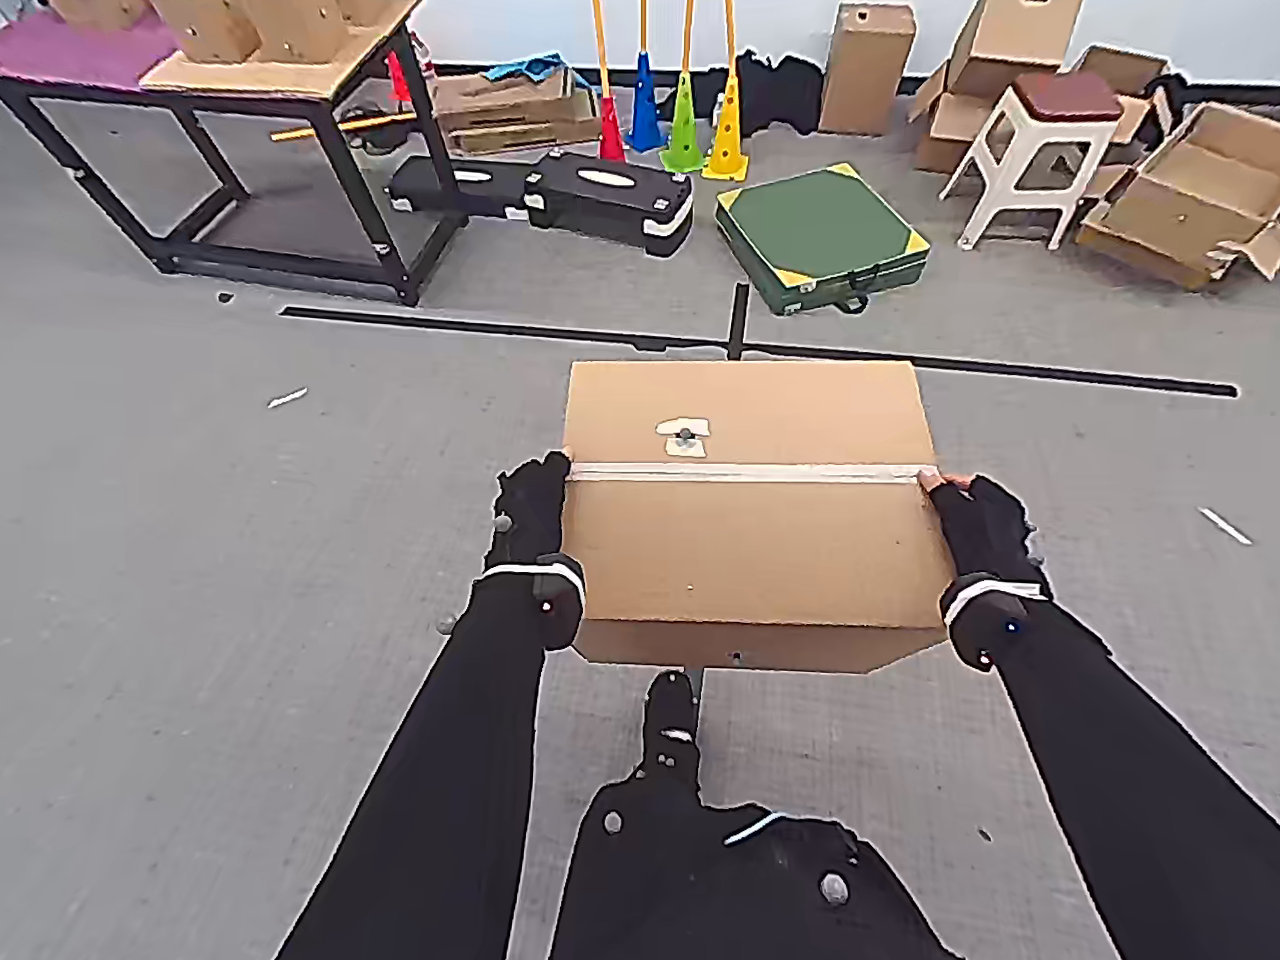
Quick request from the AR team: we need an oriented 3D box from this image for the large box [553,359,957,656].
[{"bbox_3d":[0.126,0.056,0.731,0.408,0.320,0.320,1,63,5],"label":"large box"}]
